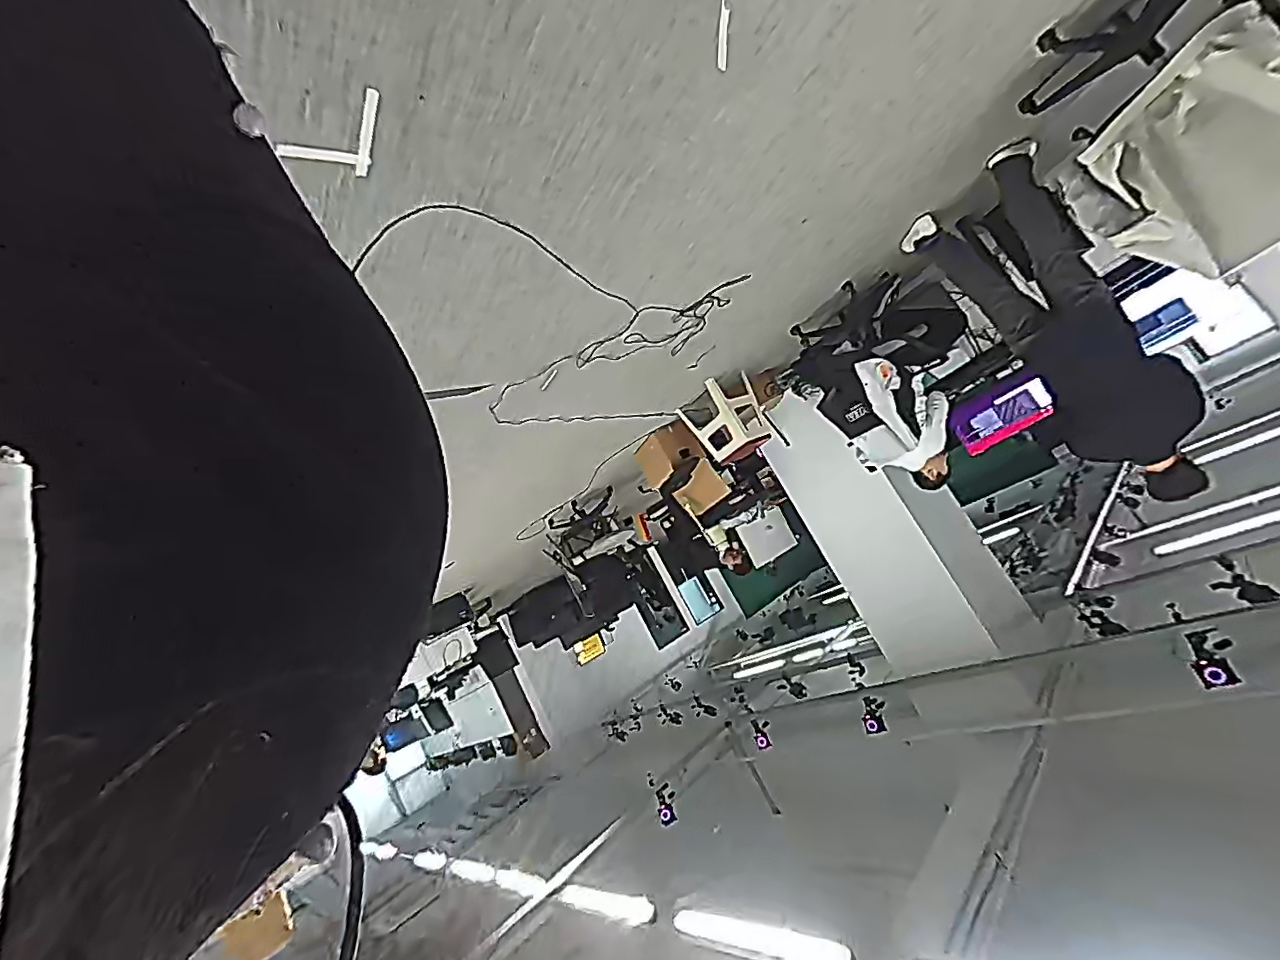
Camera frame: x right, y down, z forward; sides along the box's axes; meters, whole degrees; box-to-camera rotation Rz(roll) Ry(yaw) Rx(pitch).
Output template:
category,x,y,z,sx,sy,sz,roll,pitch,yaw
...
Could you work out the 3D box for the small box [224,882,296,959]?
category,x,y,z,sx,sy,sz,roll,pitch,yaw
small box,-1.299,1.524,1.854,0.168,0.176,0.179,-19,168,-36
